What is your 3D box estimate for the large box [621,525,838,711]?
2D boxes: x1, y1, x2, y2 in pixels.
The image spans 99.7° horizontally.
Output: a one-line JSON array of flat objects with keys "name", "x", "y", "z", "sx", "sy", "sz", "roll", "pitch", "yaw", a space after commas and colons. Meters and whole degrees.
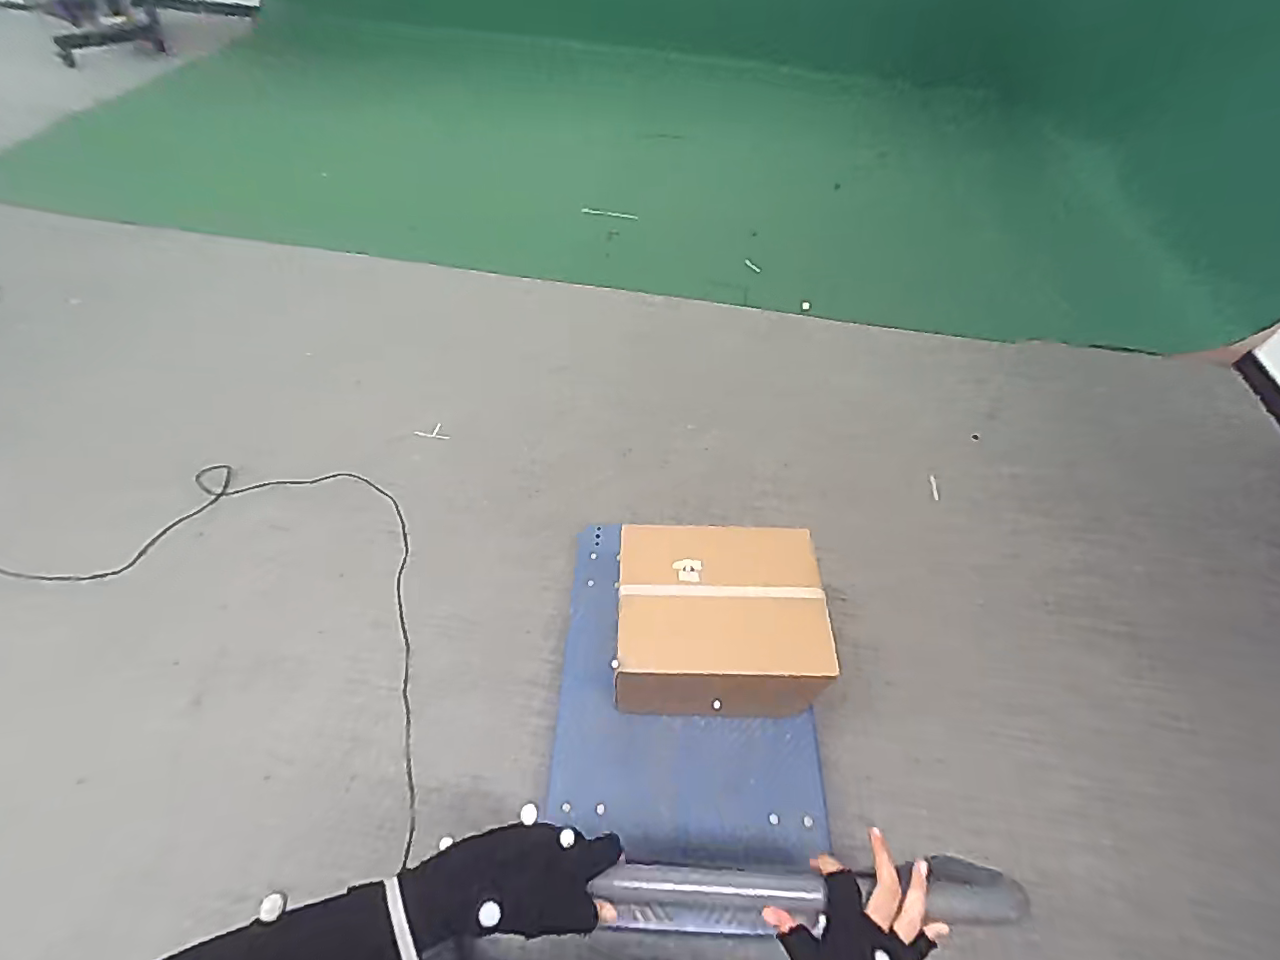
[{"name": "large box", "x": 0.161, "y": 0.310, "z": 1.190, "sx": 0.408, "sy": 0.320, "sz": 0.320, "roll": 0, "pitch": 53, "yaw": -1}]
